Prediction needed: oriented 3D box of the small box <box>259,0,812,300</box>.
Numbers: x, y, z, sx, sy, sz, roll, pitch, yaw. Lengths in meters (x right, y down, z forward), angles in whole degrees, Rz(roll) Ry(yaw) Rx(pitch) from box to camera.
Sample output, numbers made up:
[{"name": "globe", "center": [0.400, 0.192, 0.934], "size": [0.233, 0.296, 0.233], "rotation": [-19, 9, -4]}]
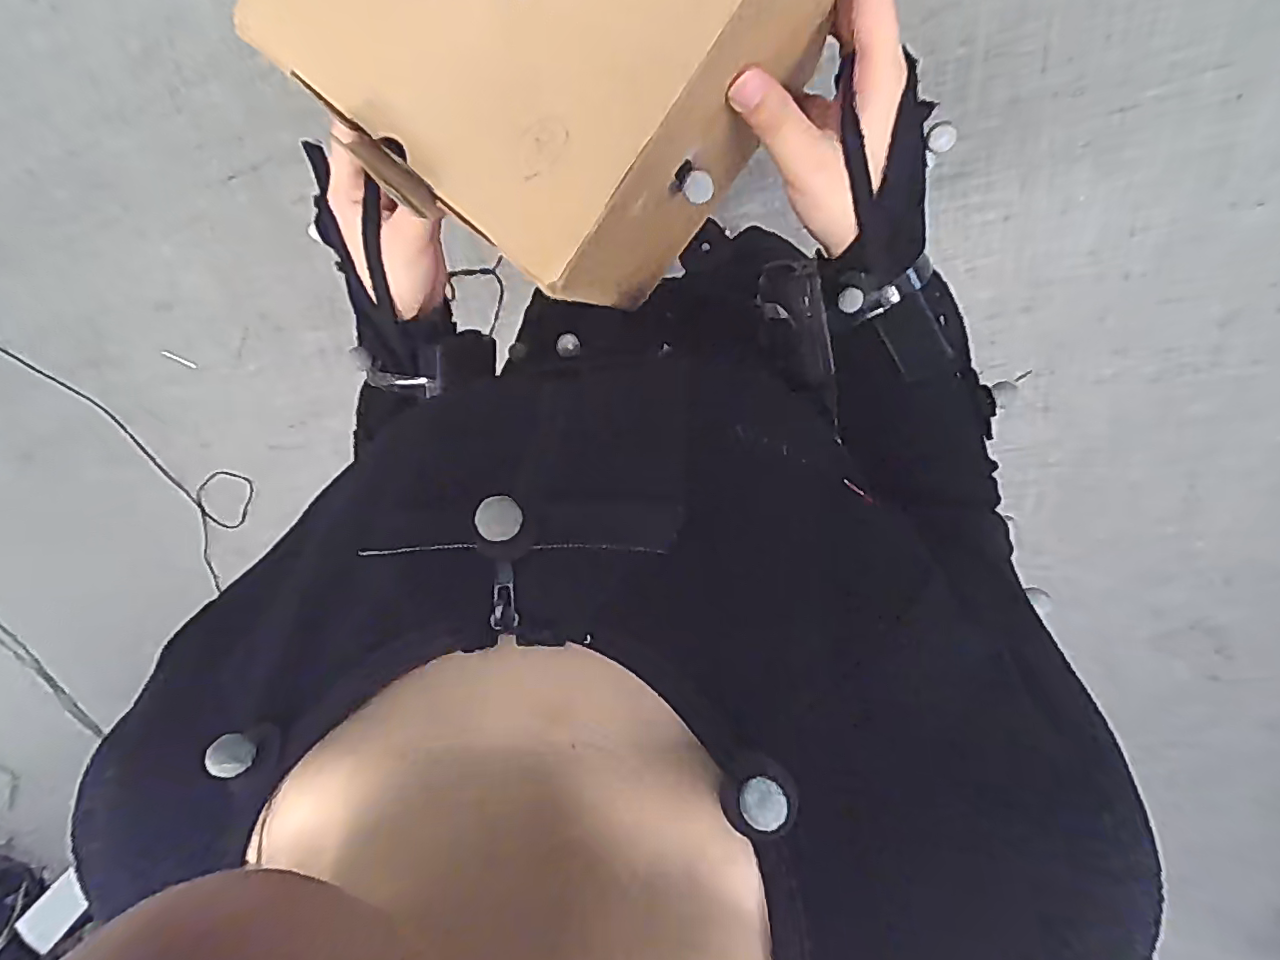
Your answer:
[{"name": "small box", "center": [-0.028, -0.209, 0.270], "size": [0.168, 0.176, 0.179], "rotation": [40, 110, -1]}]
